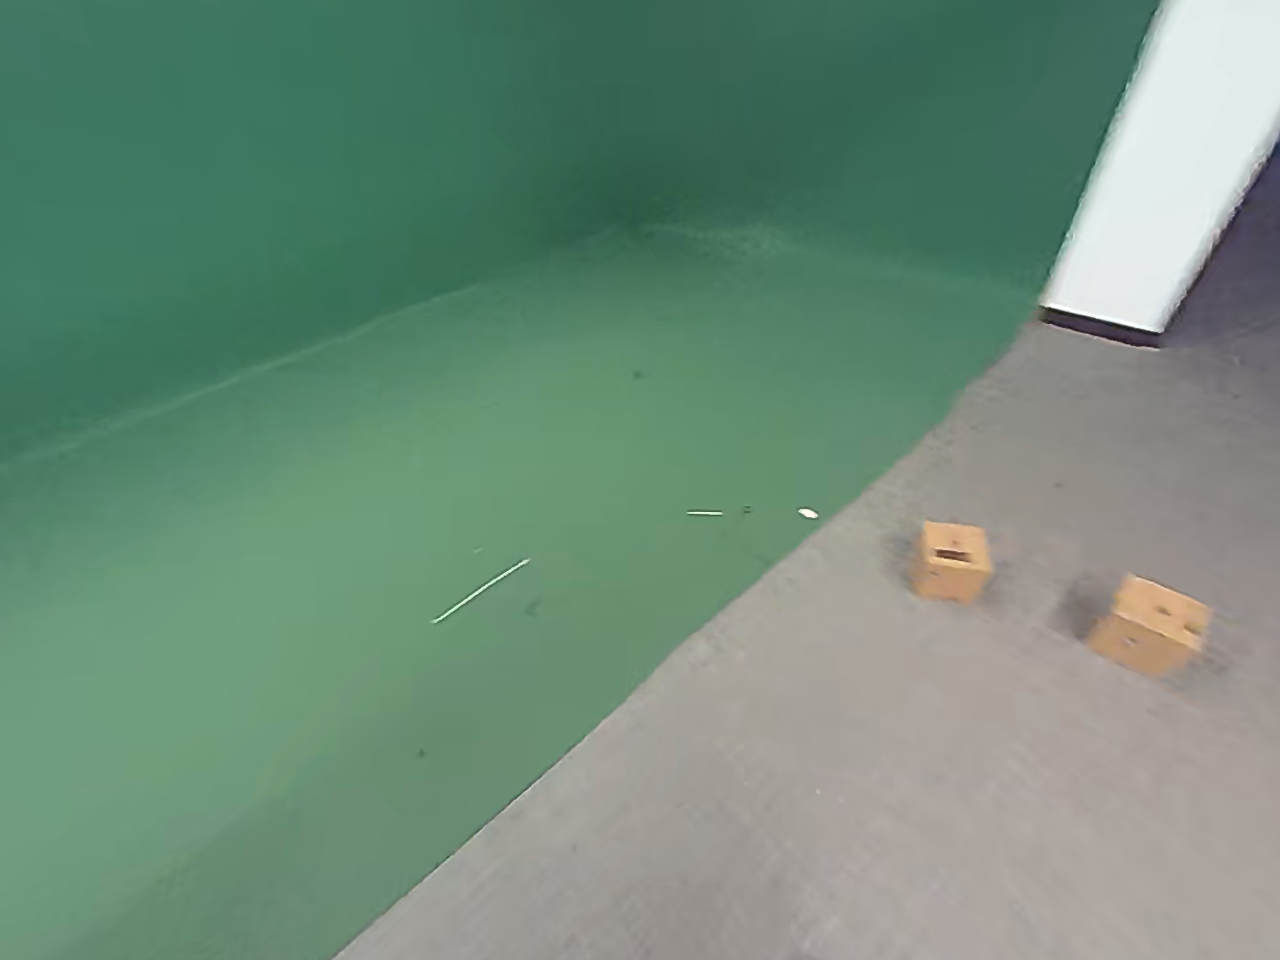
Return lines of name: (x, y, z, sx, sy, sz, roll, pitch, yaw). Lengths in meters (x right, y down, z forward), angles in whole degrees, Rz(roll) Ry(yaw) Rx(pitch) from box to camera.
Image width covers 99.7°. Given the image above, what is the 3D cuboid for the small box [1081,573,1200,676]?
small box: (1.338, 0.393, 1.455, 0.179, 0.176, 0.168, 28, 54, 34)
